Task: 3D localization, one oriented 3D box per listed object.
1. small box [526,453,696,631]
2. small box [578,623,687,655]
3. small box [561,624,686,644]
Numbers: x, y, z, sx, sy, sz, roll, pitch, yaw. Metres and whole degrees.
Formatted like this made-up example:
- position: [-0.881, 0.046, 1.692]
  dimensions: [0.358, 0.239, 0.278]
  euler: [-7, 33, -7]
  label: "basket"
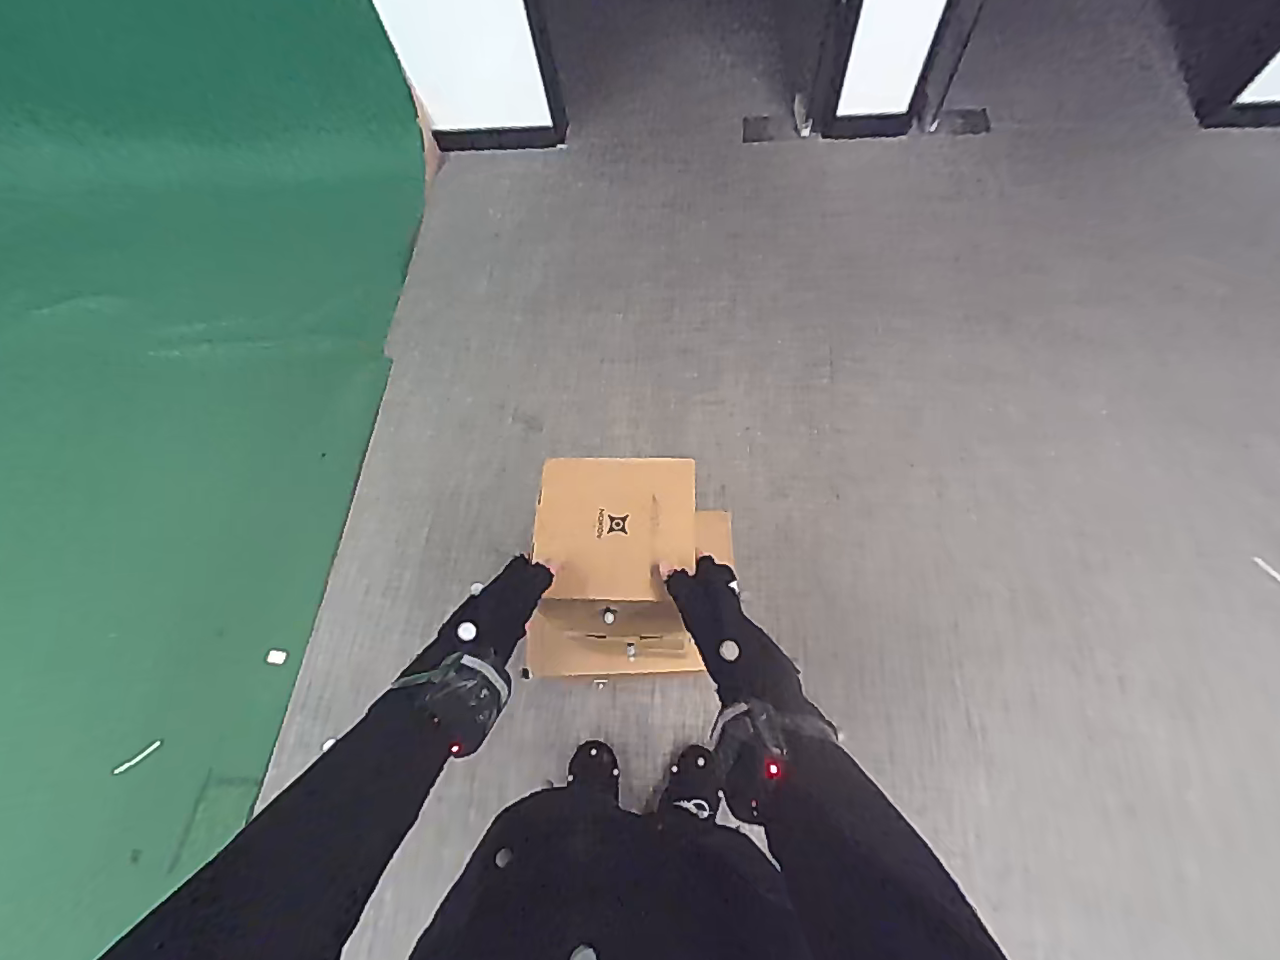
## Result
- position: [-0.023, 0.081, 0.651]
  dimensions: [0.179, 0.176, 0.168]
  euler: [1, 62, 2]
  label: "small box"
- position: [-0.002, 0.217, 0.961]
  dimensions: [0.179, 0.176, 0.168]
  euler: [1, 69, 7]
  label: "small box"
- position: [-0.014, 0.151, 0.812]
  dimensions: [0.168, 0.176, 0.179]
  euler: [0, 70, 5]
  label: "small box"
